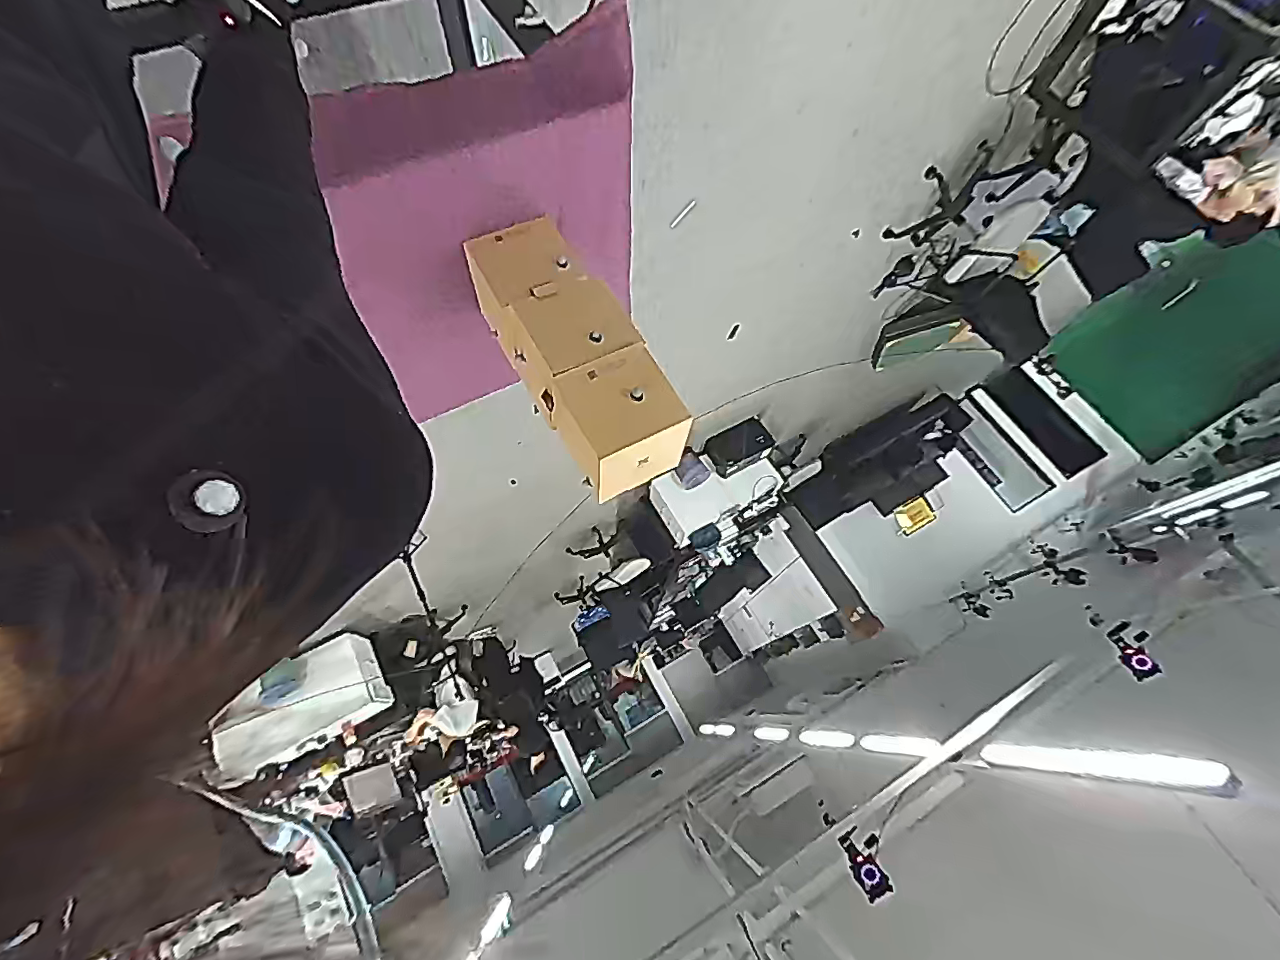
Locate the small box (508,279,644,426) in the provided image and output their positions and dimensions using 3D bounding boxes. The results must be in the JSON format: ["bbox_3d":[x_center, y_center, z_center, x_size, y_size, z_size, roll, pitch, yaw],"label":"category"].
[{"bbox_3d":[-0.120,-0.233,0.971,0.179,0.176,0.168,-24,159,-22],"label":"small box"}]

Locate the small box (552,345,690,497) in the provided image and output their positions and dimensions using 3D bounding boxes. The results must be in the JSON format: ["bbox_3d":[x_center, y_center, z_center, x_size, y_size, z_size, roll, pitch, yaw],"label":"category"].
[{"bbox_3d":[-0.038,-0.104,0.915,0.168,0.176,0.179,-27,161,-15],"label":"small box"}]
